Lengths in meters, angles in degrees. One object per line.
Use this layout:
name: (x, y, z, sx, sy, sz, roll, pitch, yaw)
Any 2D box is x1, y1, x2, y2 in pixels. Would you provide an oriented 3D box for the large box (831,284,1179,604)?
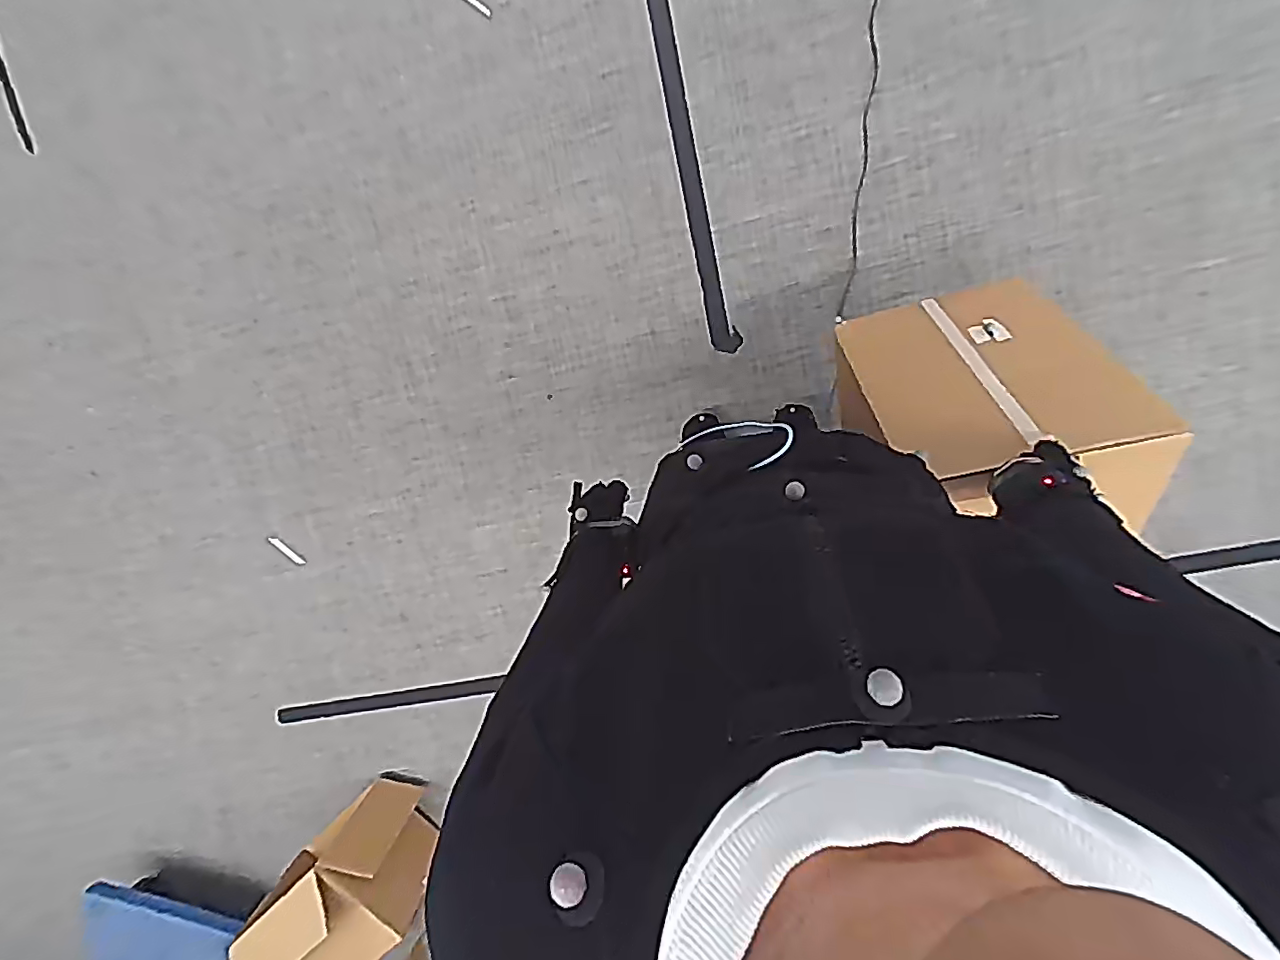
large box: (0.541, -0.062, 0.910, 0.320, 0.408, 0.320, -12, 133, 11)
